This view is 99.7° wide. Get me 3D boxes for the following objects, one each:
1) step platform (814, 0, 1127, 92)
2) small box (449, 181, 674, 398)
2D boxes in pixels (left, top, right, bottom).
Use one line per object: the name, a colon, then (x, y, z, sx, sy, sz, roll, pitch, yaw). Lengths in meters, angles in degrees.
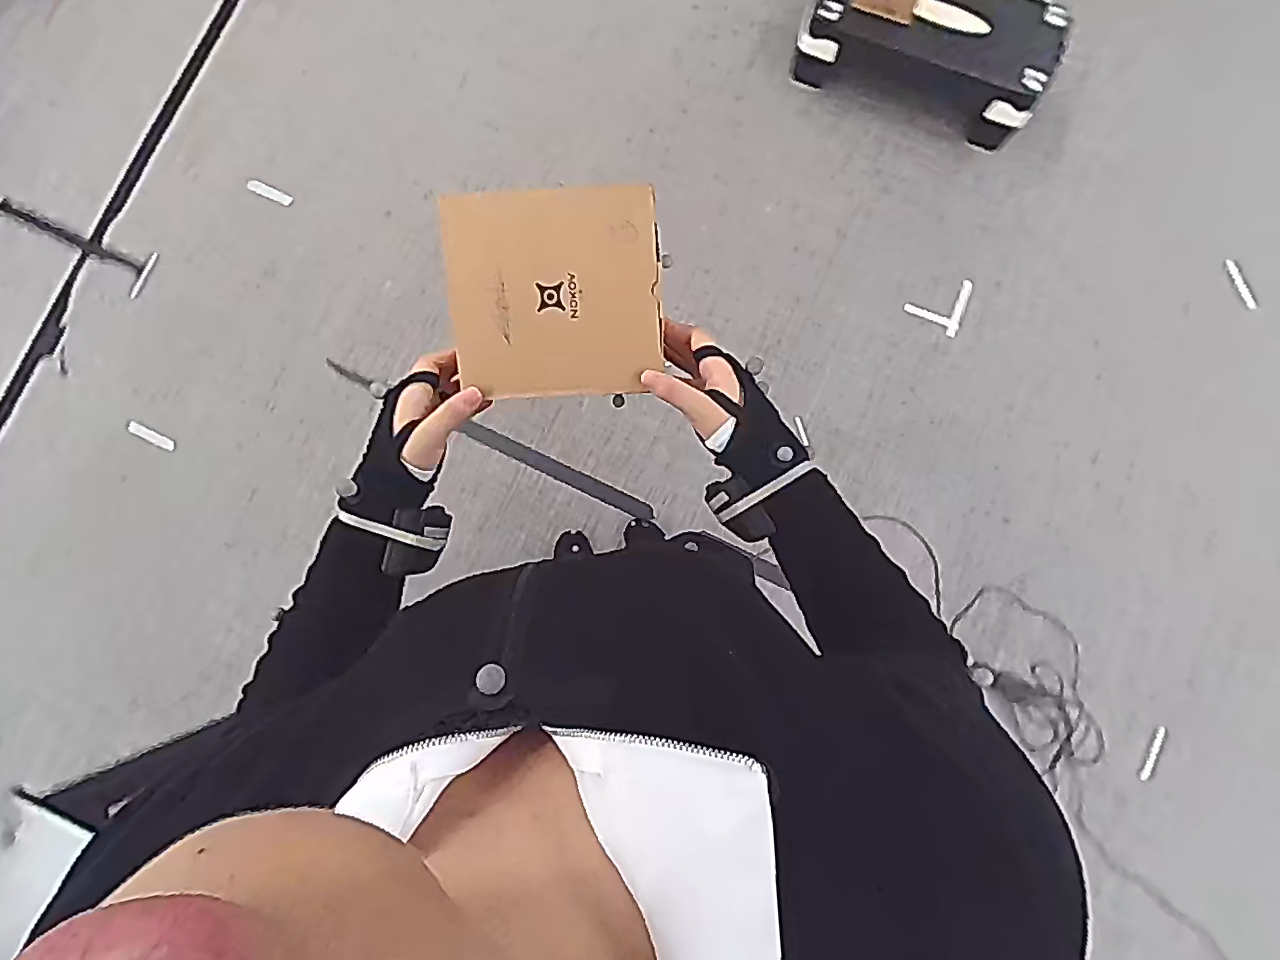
step platform: (0.787, -1.226, 1.314, 0.684, 0.204, 0.286, 22, 85, 3)
small box: (-0.061, -0.168, 0.519, 0.179, 0.176, 0.168, -3, 101, 2)
